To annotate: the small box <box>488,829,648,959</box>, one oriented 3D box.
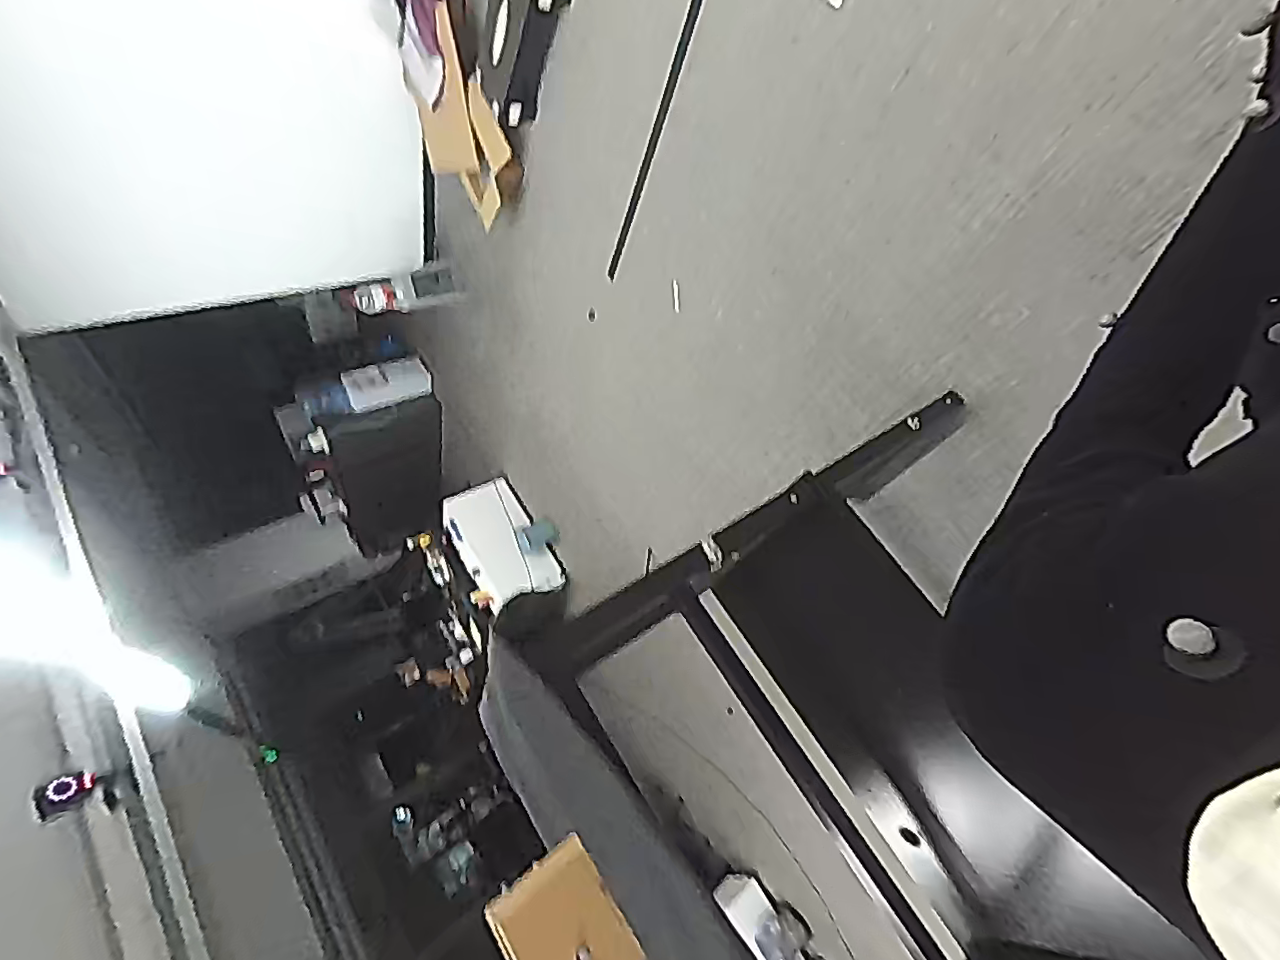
[{"bbox_3d":[-0.110,0.660,0.816,0.168,0.176,0.179,53,148,19],"label":"small box"}]
